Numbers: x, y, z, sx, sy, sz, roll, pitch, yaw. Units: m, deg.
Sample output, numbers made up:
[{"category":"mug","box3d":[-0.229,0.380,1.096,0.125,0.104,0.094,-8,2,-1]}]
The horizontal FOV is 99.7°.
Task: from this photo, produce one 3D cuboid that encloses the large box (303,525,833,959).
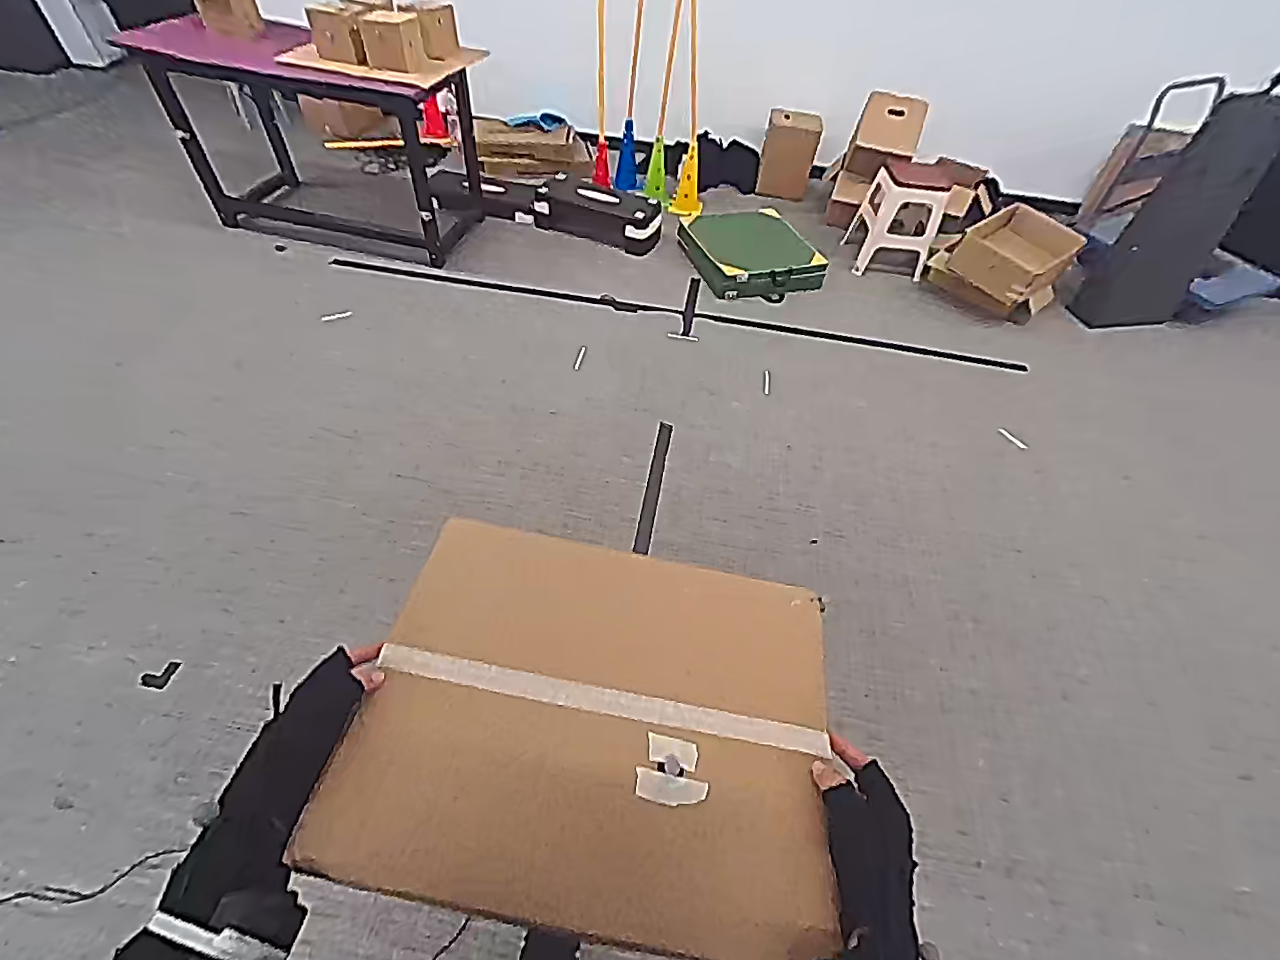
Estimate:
[{"category":"large box","box3d":[-0.050,0.293,0.600,0.408,0.320,0.320,12,51,1]}]
